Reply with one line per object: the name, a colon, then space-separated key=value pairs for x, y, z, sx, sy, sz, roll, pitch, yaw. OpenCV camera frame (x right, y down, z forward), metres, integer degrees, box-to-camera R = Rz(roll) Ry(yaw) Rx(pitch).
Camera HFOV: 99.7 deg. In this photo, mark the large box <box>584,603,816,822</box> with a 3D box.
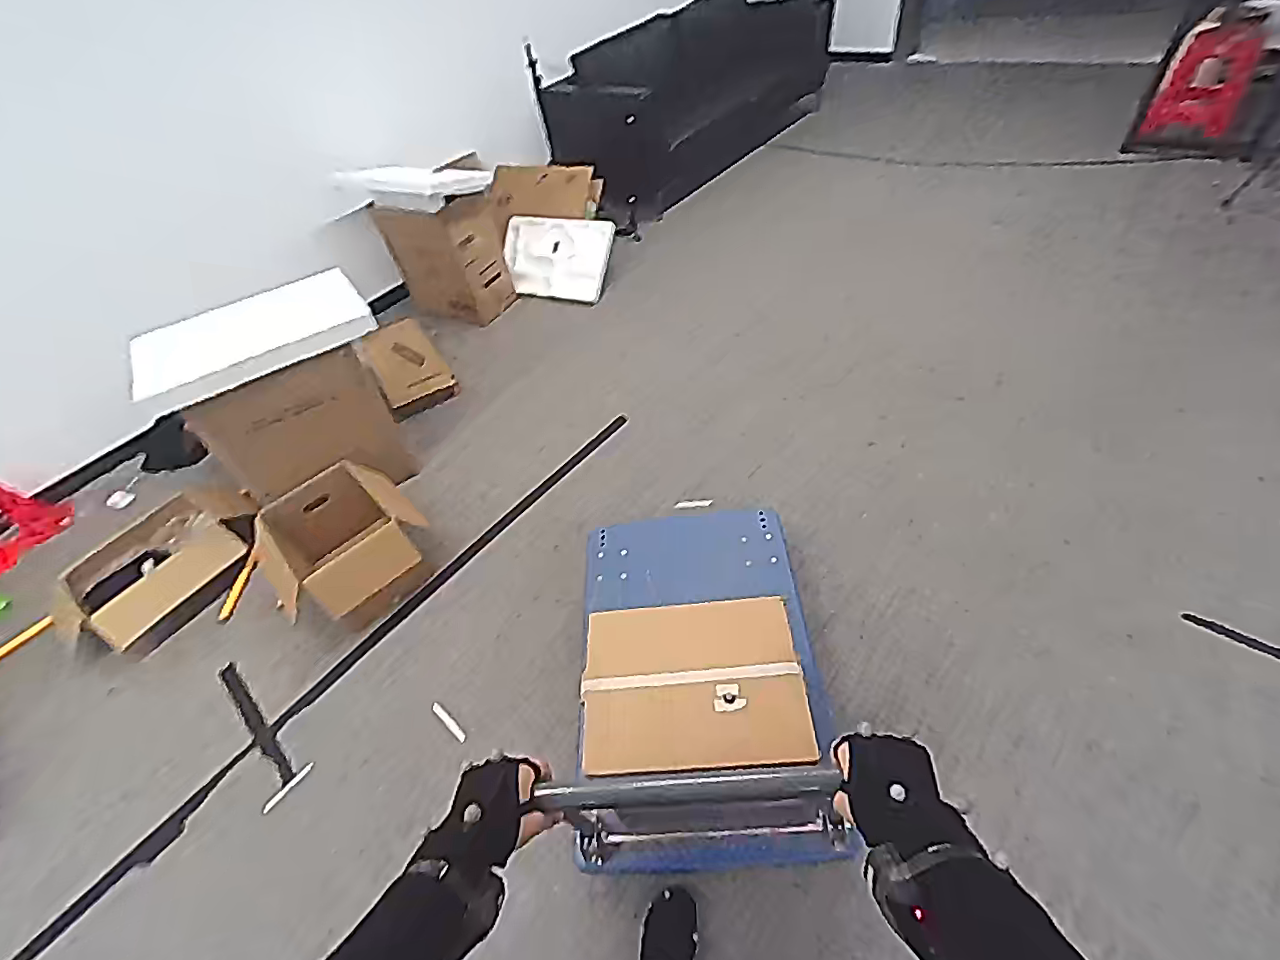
large box: x=0.110 y=0.485 z=1.116 sx=0.408 sy=0.320 sz=0.320 roll=-6 pitch=48 yaw=4
